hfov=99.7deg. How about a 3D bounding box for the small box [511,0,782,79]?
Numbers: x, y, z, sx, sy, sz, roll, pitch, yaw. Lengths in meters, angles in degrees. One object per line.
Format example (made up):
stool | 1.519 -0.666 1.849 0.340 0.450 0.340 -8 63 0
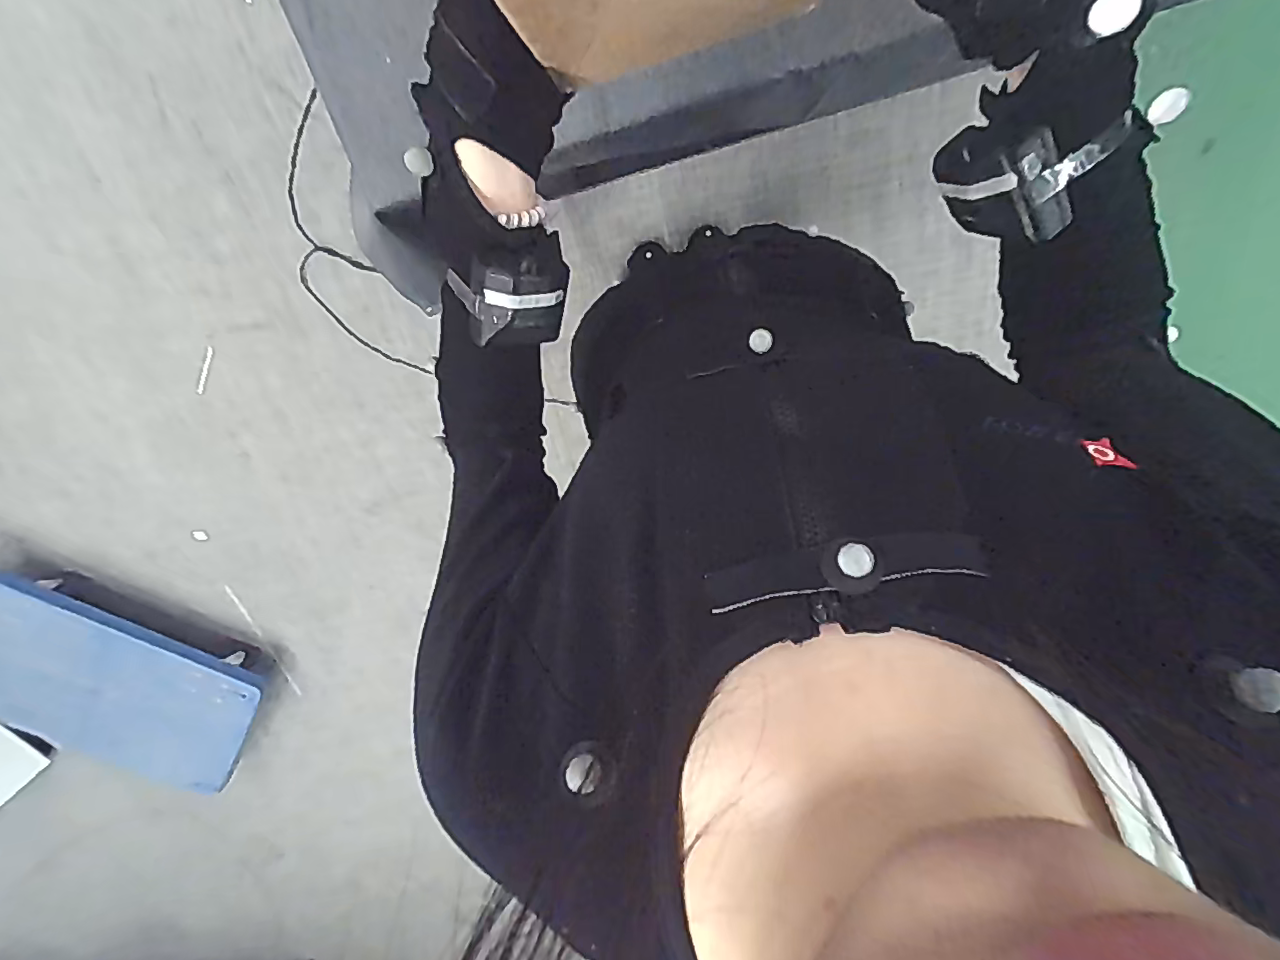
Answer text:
small box | 0.002 -0.320 0.238 0.168 0.179 0.176 -10 104 12
